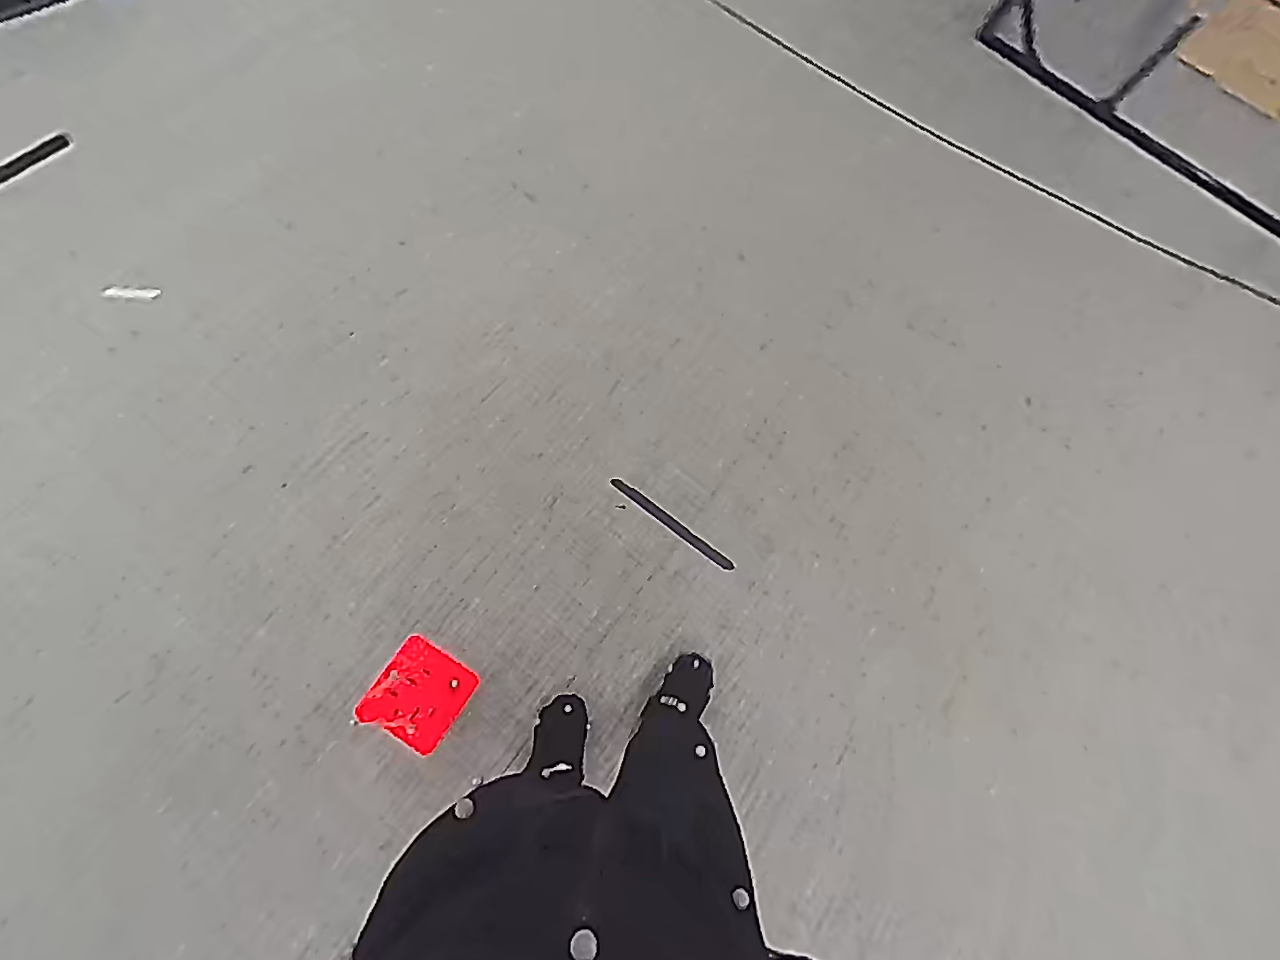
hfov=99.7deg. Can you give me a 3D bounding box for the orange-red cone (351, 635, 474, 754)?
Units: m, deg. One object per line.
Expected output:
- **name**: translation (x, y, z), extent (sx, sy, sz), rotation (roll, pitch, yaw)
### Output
- **orange-red cone**: translation (-0.482, 0.426, 1.056), extent (0.199, 0.360, 0.198), rotation (34, 71, 5)
